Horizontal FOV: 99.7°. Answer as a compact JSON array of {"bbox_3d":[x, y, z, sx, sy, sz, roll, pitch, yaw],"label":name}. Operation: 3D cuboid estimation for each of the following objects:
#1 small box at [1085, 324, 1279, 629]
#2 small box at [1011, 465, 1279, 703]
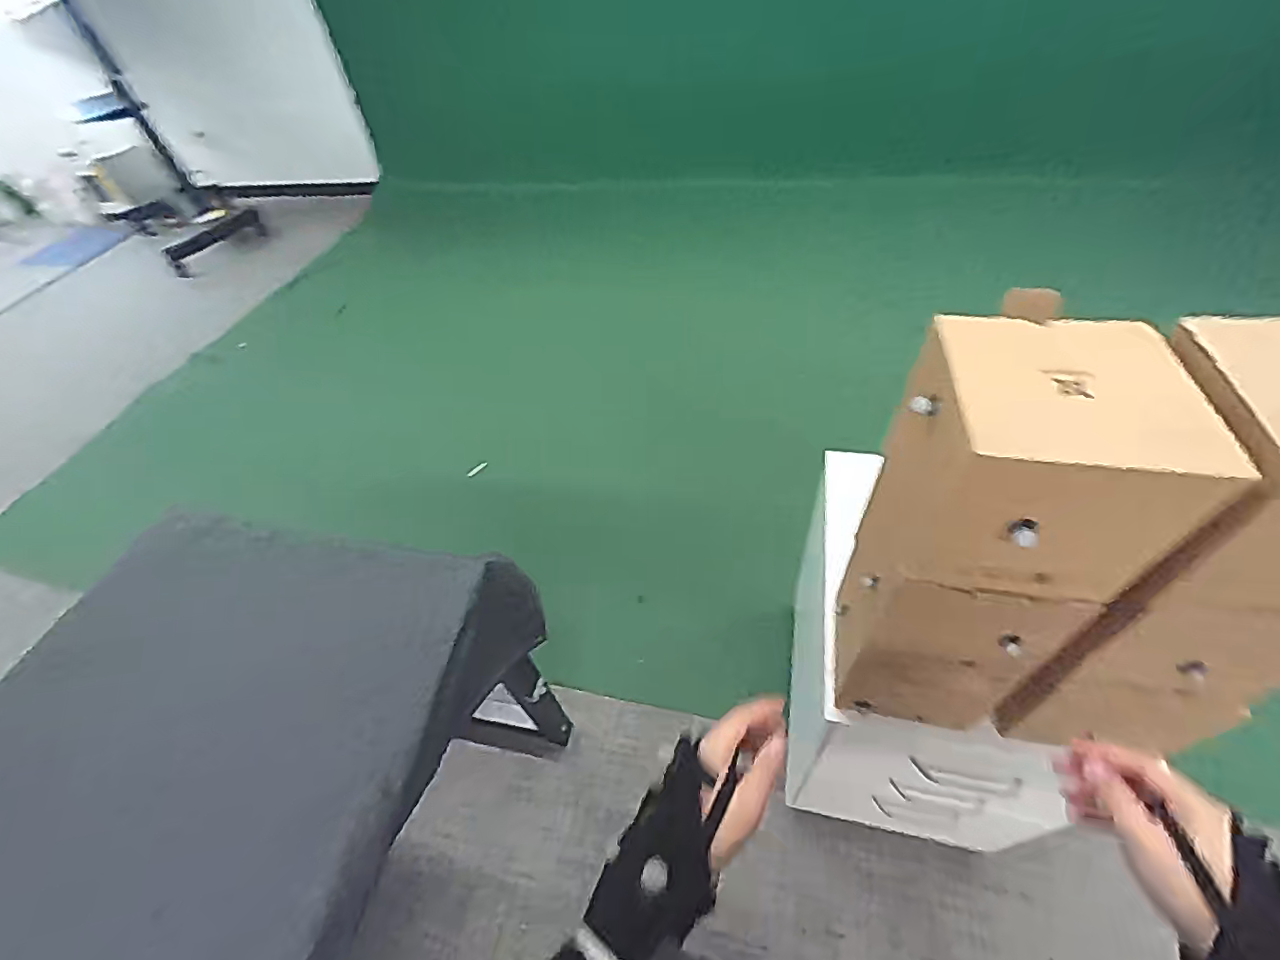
[{"bbox_3d":[0.503,-0.001,0.426,0.168,0.176,0.179,6,49,12],"label":"small box"},{"bbox_3d":[0.518,0.107,0.549,0.168,0.176,0.179,4,50,10],"label":"small box"}]
